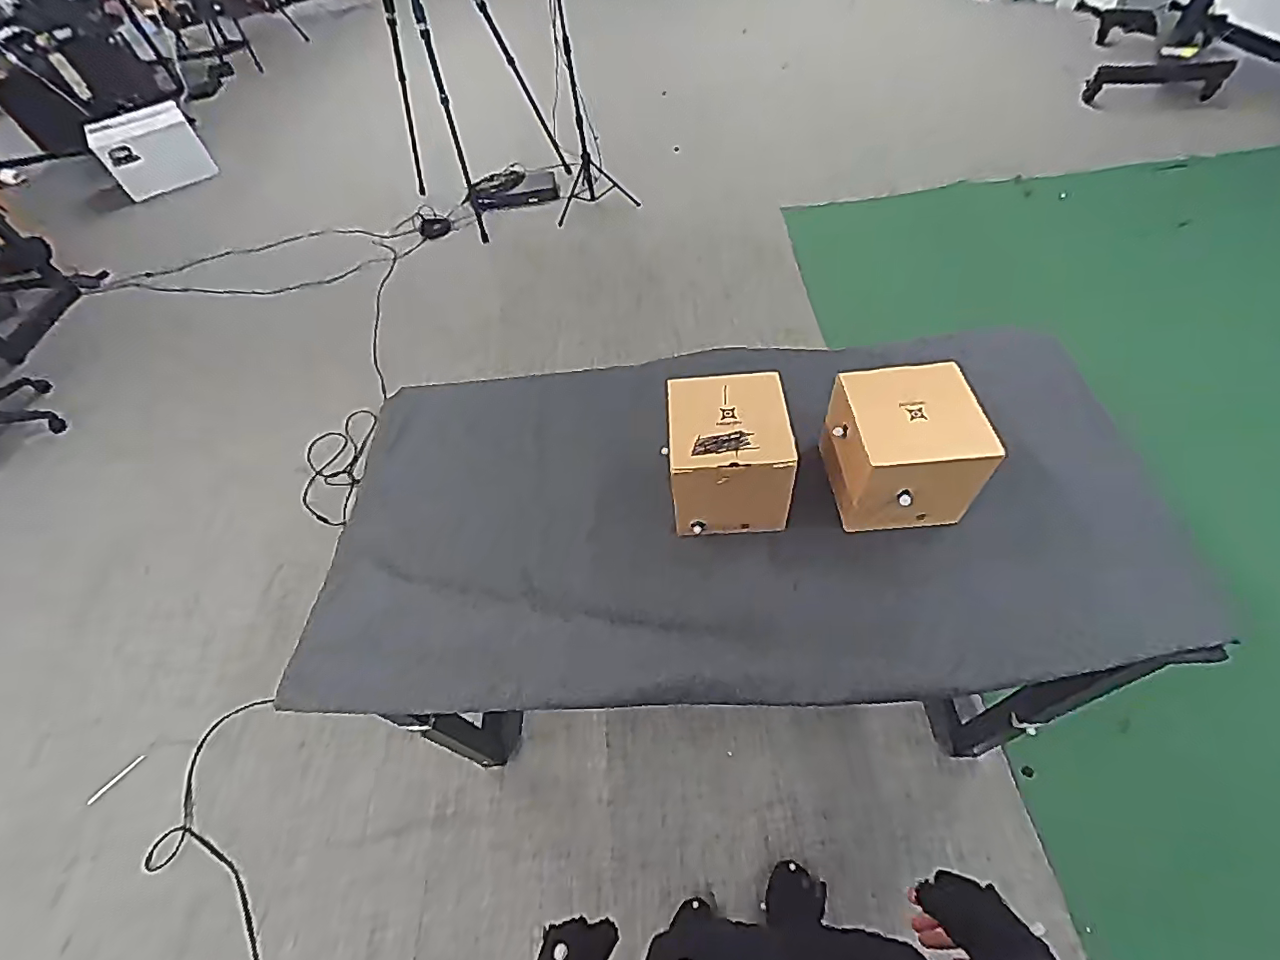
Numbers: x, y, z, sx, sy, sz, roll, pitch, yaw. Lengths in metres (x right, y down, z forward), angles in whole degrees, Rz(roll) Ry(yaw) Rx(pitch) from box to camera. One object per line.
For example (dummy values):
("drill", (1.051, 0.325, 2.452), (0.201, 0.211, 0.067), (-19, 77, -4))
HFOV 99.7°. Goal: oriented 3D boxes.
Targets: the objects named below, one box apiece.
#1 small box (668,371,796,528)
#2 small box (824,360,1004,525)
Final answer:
("small box", (0.131, -0.038, 0.810), (0.168, 0.176, 0.179), (-3, 53, 5))
("small box", (0.377, -0.045, 0.784), (0.168, 0.176, 0.179), (-5, 53, 4))
